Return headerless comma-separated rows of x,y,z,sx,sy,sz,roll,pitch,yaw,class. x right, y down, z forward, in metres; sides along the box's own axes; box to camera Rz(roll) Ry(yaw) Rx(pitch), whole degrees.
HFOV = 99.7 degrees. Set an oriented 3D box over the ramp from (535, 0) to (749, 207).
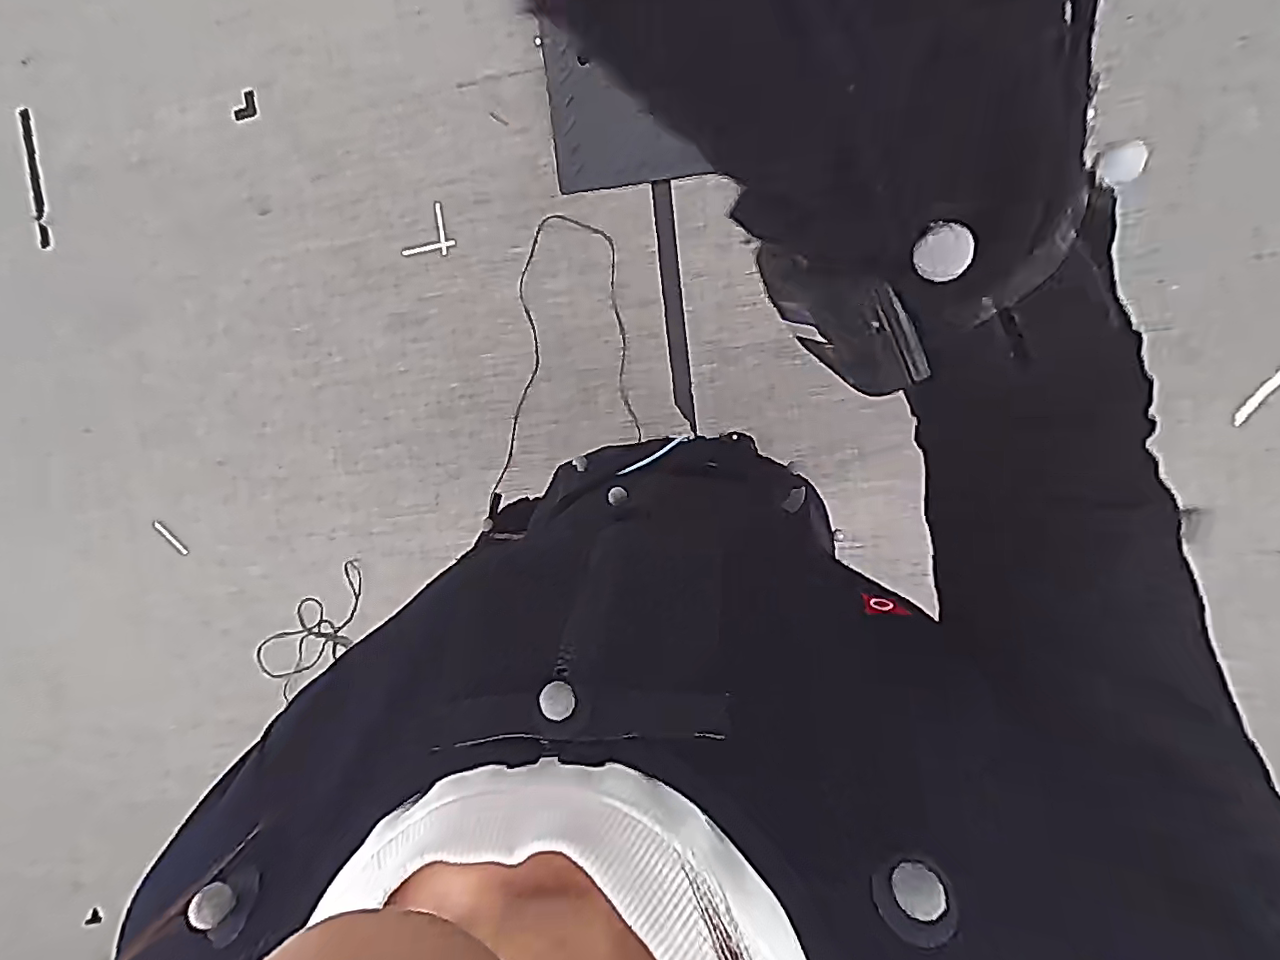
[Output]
-0.021,-1.228,1.292,0.509,0.206,0.991,-7,93,8,ramp
